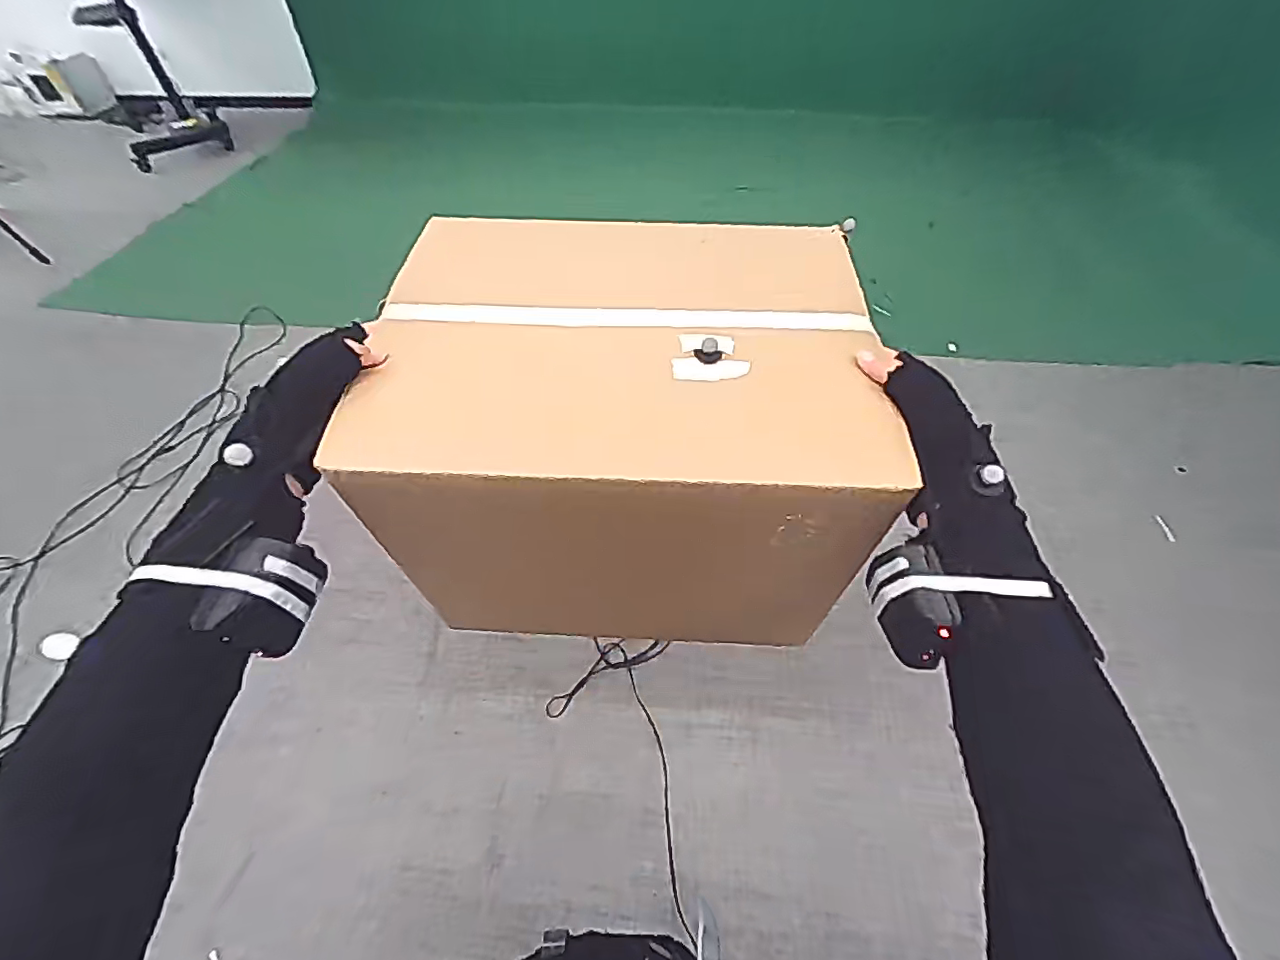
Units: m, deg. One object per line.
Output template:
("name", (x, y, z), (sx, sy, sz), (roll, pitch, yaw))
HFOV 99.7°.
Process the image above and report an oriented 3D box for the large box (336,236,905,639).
("large box", (-0.013, -0.033, 0.577), (0.408, 0.320, 0.320), (2, 55, 1))
